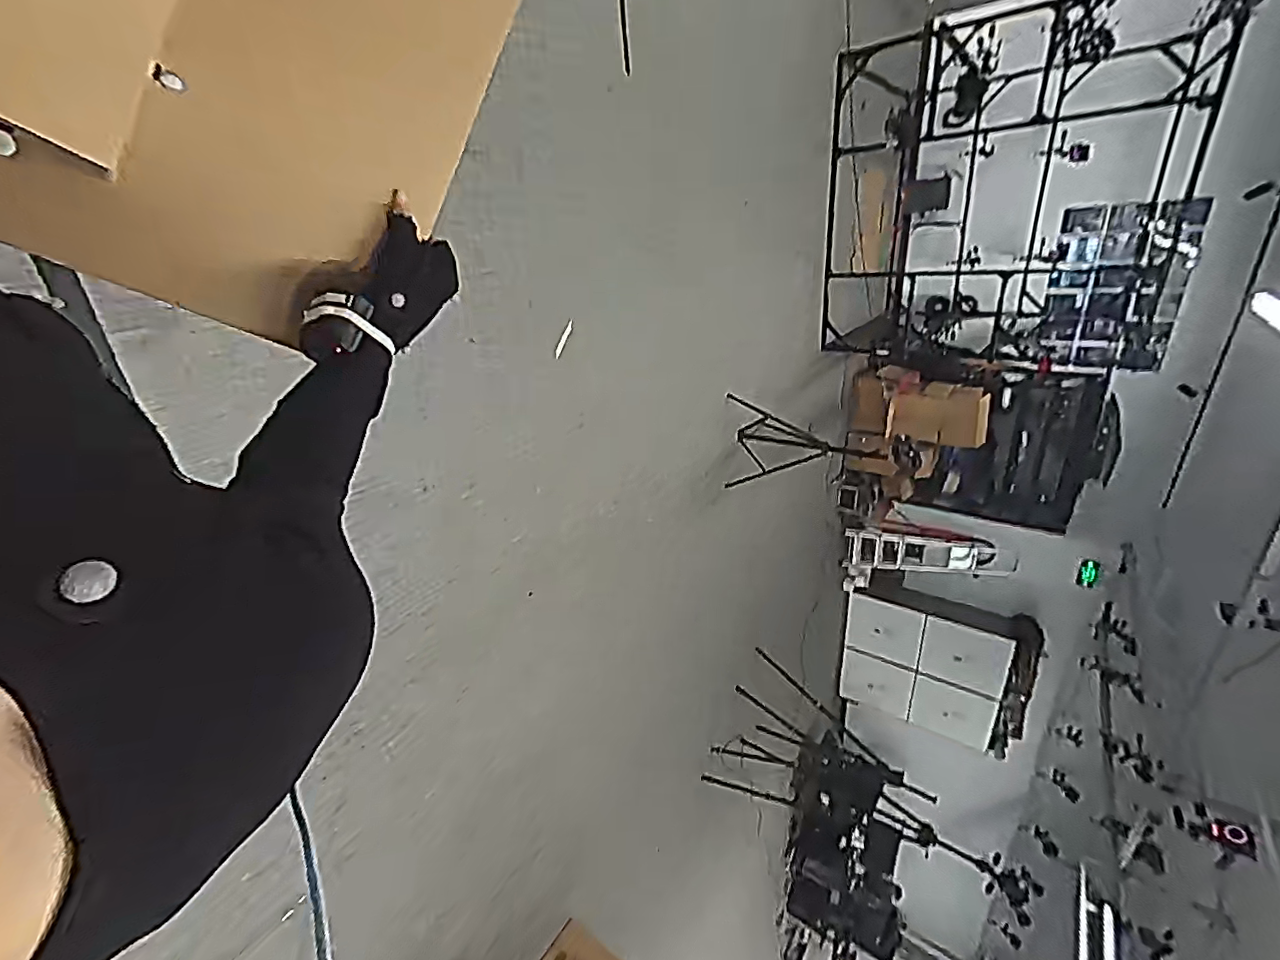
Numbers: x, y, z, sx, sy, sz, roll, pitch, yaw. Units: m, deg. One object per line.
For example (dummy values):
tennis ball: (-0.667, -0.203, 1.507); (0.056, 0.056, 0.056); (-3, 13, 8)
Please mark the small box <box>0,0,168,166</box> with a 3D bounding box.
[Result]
small box: (-0.384, -0.303, 0.296); (0.179, 0.176, 0.168); (20, 95, -48)
